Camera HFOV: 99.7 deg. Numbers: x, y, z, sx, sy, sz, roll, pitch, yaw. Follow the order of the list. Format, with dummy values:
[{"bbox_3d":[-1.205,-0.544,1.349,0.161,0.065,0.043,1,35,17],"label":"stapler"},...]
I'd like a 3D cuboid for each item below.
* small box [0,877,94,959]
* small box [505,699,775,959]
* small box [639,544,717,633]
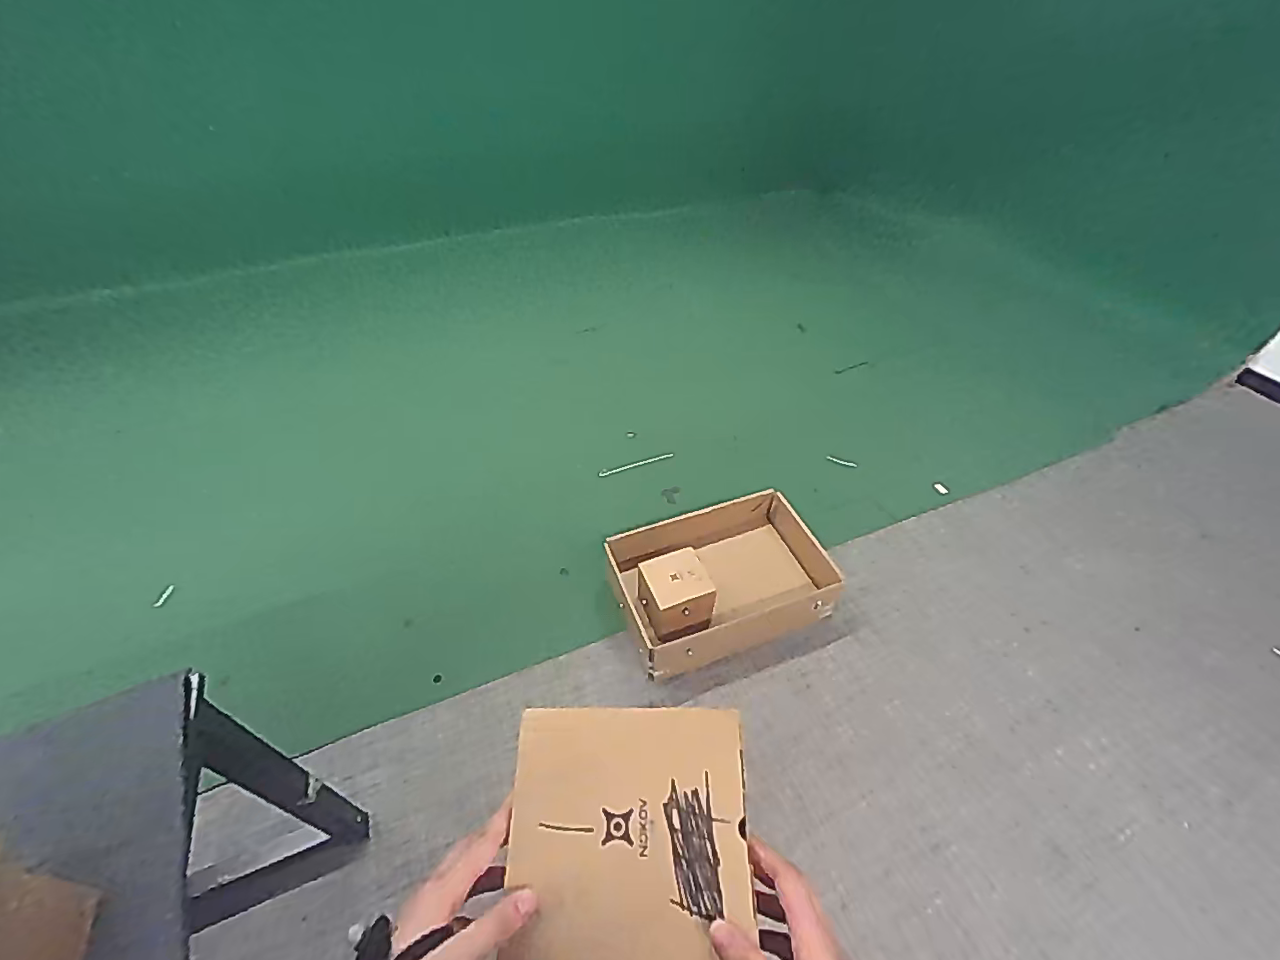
[{"bbox_3d":[-0.644,0.474,0.468,0.168,0.176,0.179,-14,46,-14],"label":"small box"},{"bbox_3d":[0.001,0.284,0.452,0.179,0.176,0.168,0,59,1],"label":"small box"},{"bbox_3d":[0.104,0.319,1.575,0.179,0.176,0.168,-15,49,-16],"label":"small box"}]
